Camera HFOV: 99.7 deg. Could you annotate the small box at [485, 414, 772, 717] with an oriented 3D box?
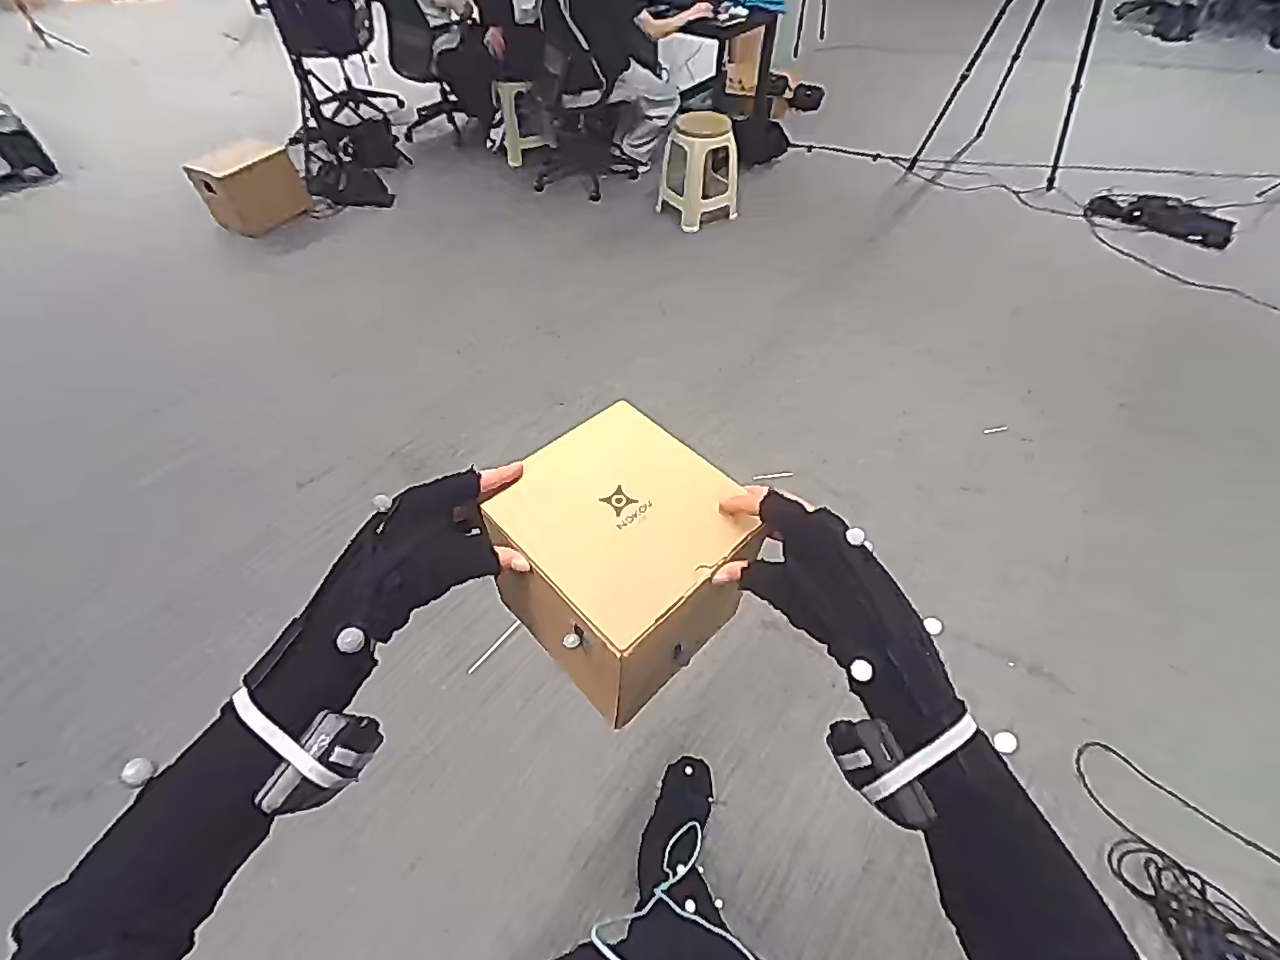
[{"bbox_3d":[-0.017,0.078,0.491,0.168,0.176,0.179,-34,62,-29],"label":"small box"}]
